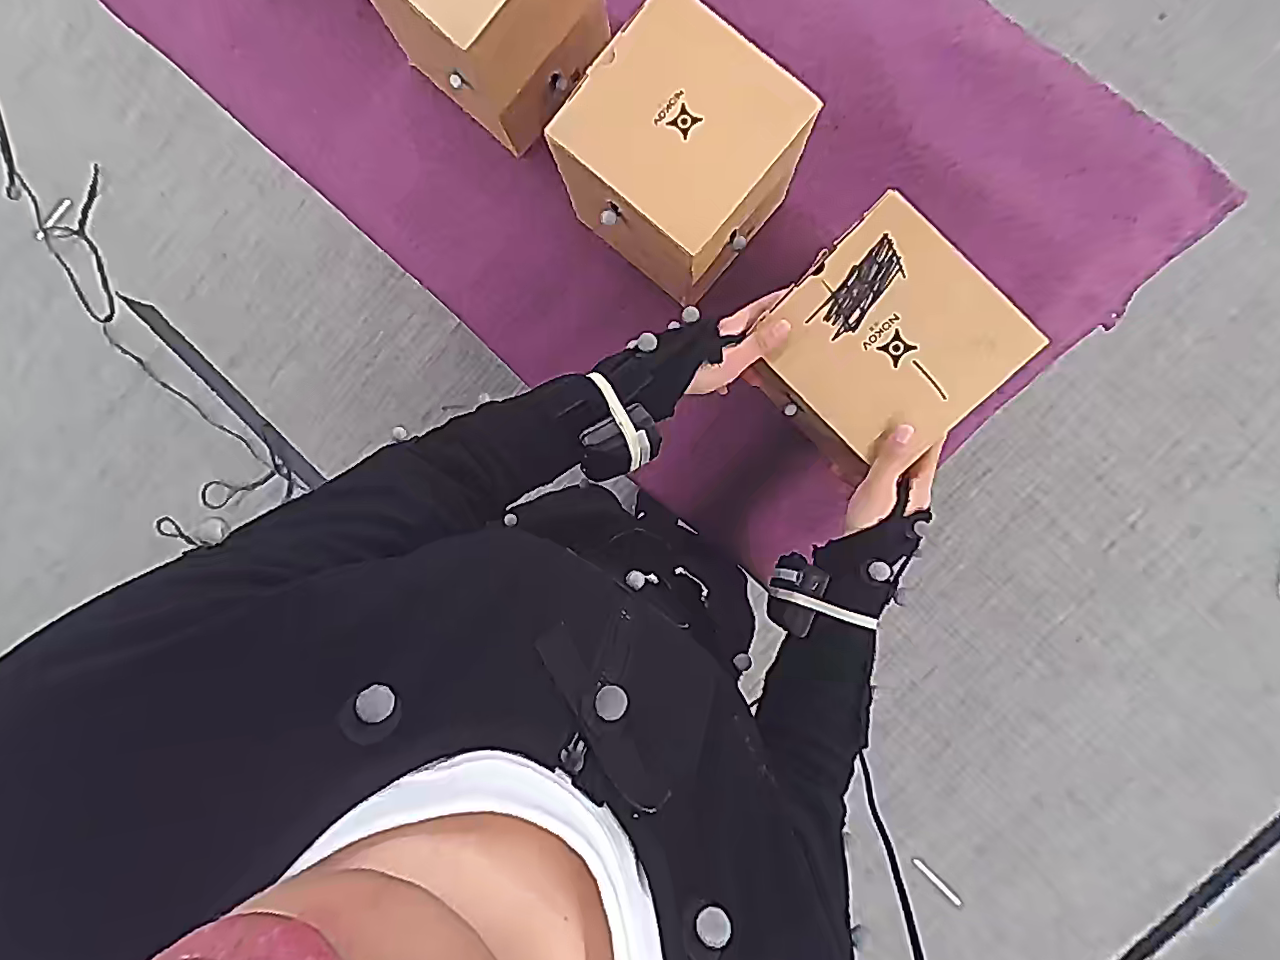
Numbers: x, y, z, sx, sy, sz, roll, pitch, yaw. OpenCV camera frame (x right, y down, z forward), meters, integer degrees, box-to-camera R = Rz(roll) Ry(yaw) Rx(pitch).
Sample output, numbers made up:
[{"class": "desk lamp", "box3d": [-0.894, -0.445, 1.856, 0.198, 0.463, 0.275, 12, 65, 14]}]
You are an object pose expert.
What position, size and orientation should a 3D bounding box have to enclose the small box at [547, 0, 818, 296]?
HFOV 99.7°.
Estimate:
[{"class": "small box", "box3d": [0.041, -0.310, 0.541, 0.179, 0.176, 0.168, 41, 94, 3]}]
